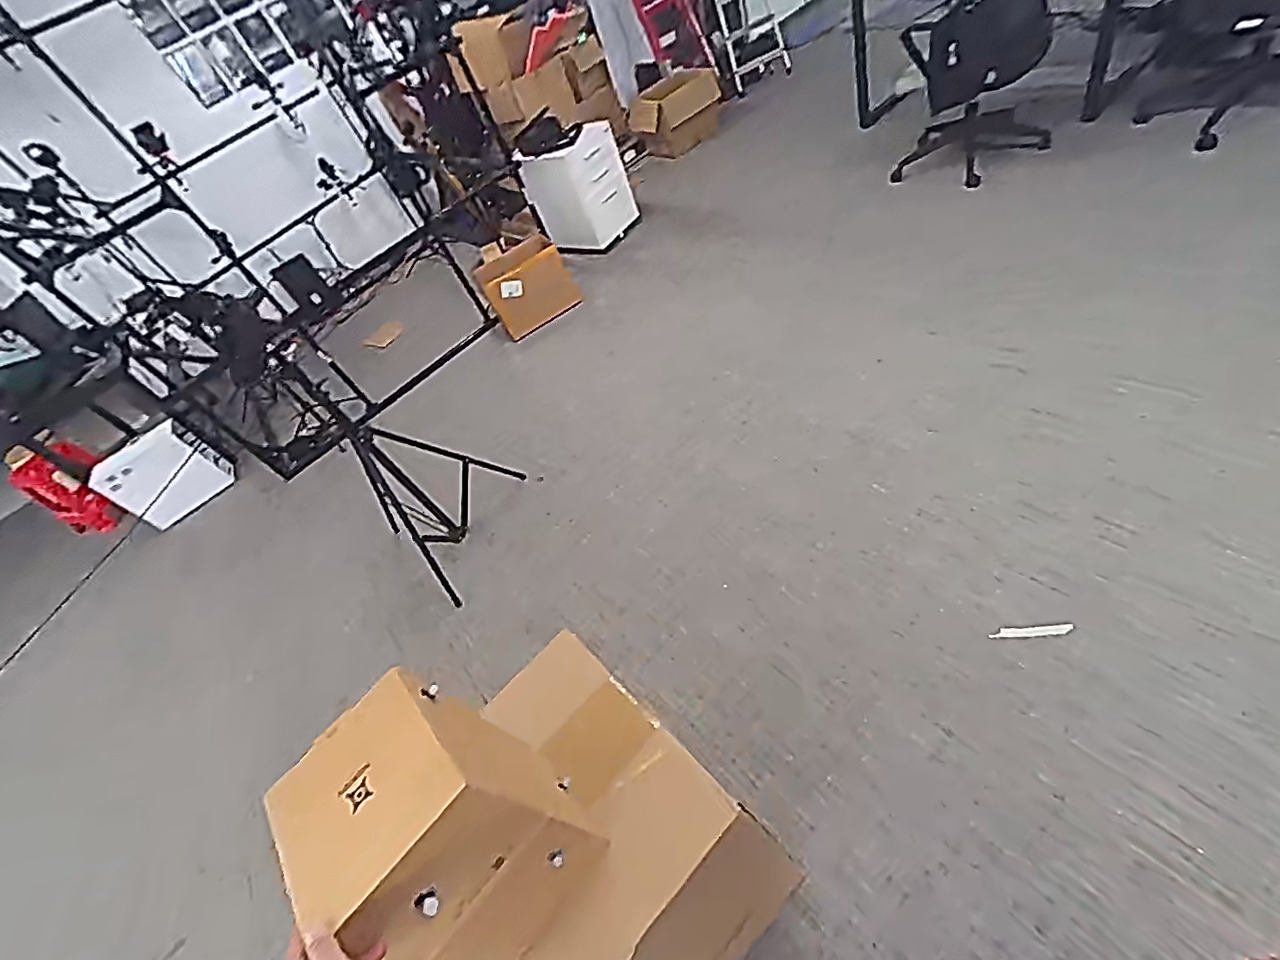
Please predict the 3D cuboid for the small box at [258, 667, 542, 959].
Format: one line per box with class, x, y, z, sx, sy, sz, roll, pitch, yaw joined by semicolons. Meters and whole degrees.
small box;-0.231;0.330;0.546;0.168;0.176;0.179;-46;47;-17
